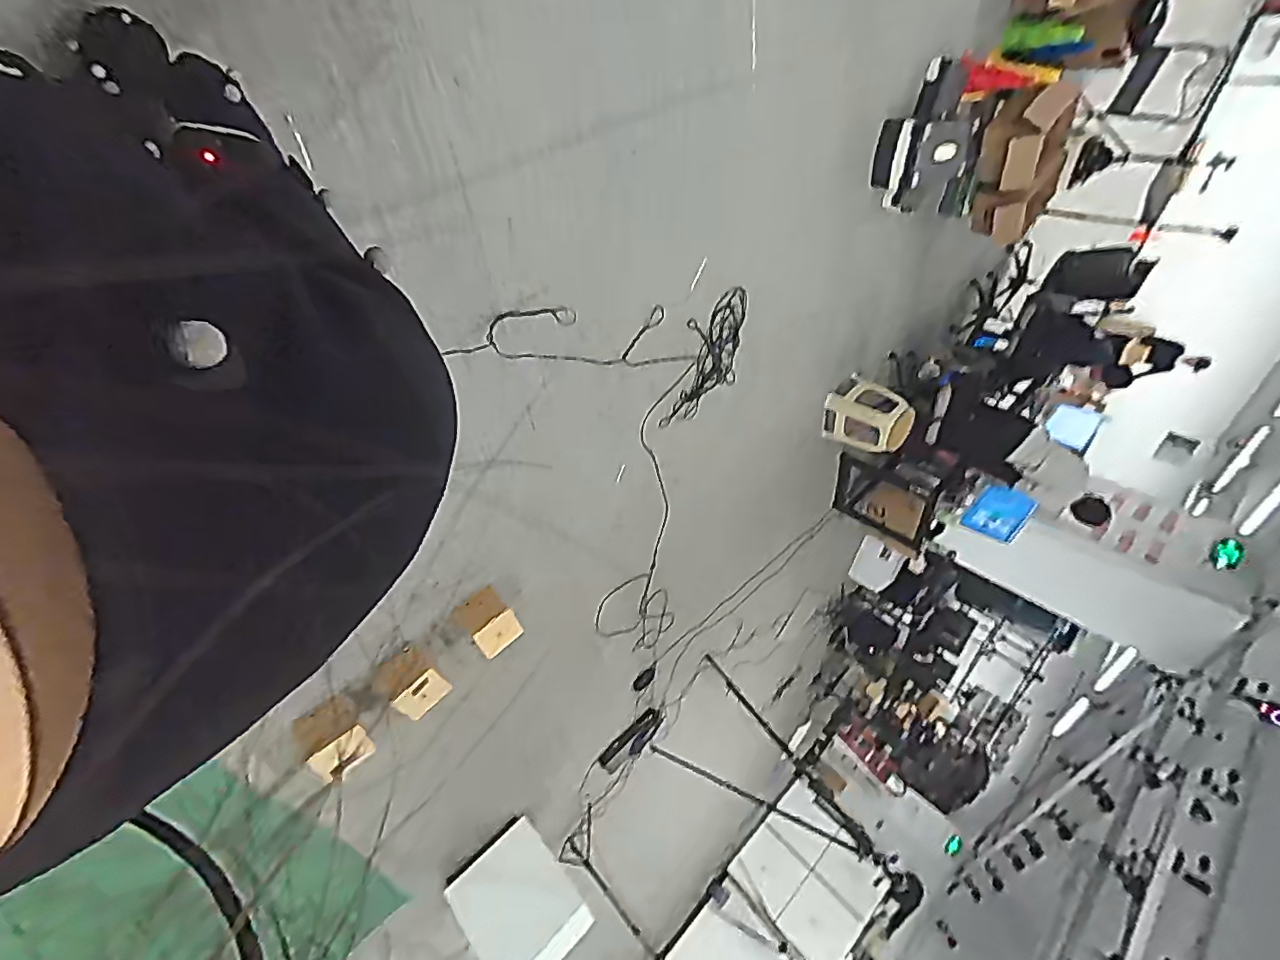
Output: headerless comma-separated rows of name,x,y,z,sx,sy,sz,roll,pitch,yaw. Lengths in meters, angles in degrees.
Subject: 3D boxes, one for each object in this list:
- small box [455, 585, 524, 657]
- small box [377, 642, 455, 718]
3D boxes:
small box,-0.579,0.538,2.079,0.168,0.176,0.179,-39,138,-24
small box,-0.808,0.712,1.944,0.168,0.176,0.179,-41,141,-21
